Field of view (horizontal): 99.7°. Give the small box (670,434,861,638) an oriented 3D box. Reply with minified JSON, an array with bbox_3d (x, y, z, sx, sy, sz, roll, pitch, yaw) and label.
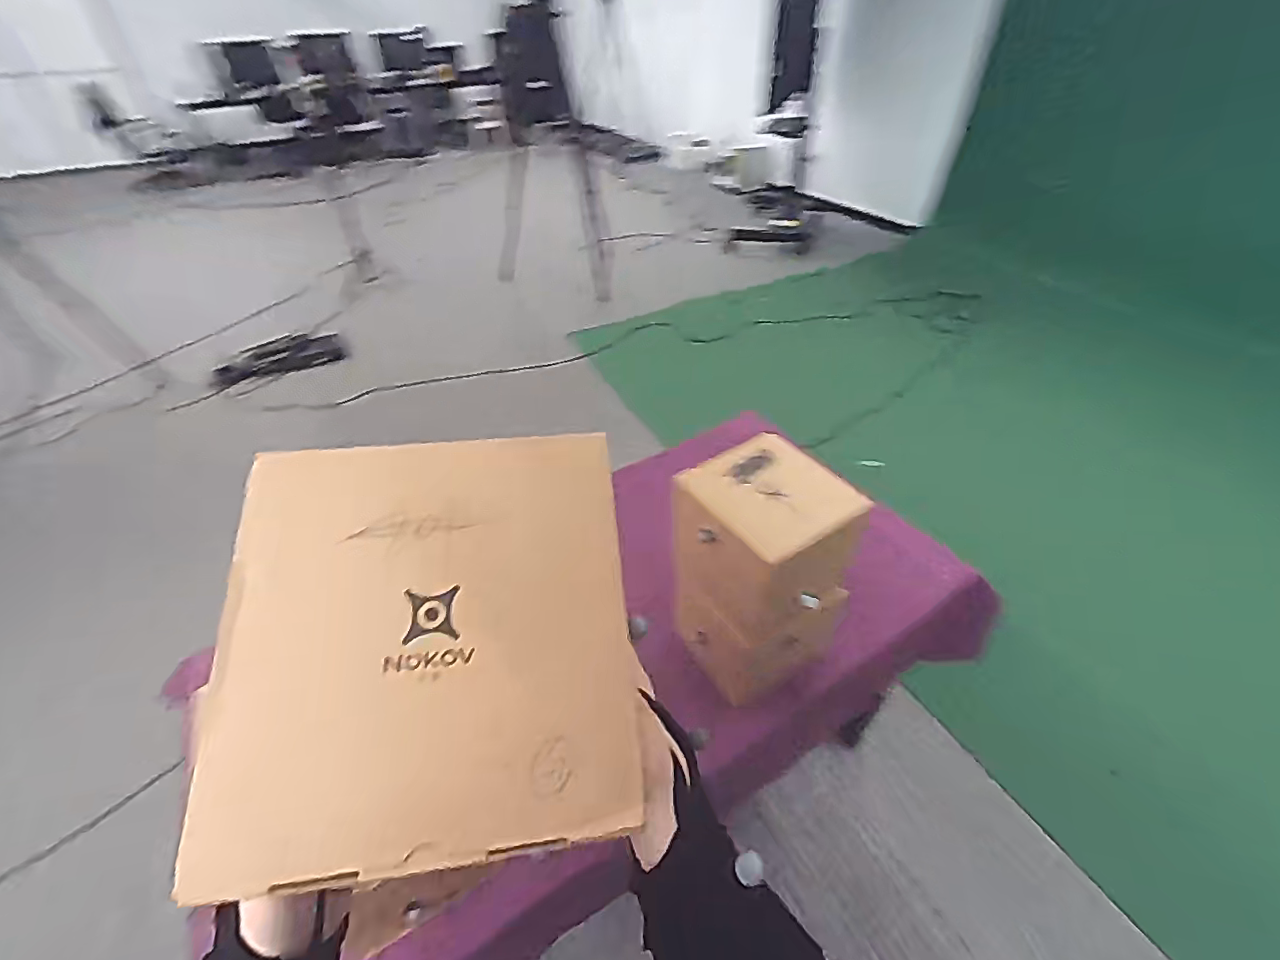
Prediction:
[{"bbox_3d":[0.151,0.072,0.717,0.168,0.176,0.179,-25,47,-24],"label":"small box"}]

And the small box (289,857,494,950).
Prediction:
[{"bbox_3d":[-0.286,0.388,0.626,0.168,0.176,0.179,-23,46,-23],"label":"small box"}]

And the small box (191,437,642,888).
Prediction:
[{"bbox_3d":[-0.091,0.093,0.304,0.168,0.176,0.179,-3,66,-7],"label":"small box"}]

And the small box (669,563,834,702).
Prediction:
[{"bbox_3d":[0.159,0.200,0.821,0.179,0.176,0.168,-23,46,-22],"label":"small box"}]
